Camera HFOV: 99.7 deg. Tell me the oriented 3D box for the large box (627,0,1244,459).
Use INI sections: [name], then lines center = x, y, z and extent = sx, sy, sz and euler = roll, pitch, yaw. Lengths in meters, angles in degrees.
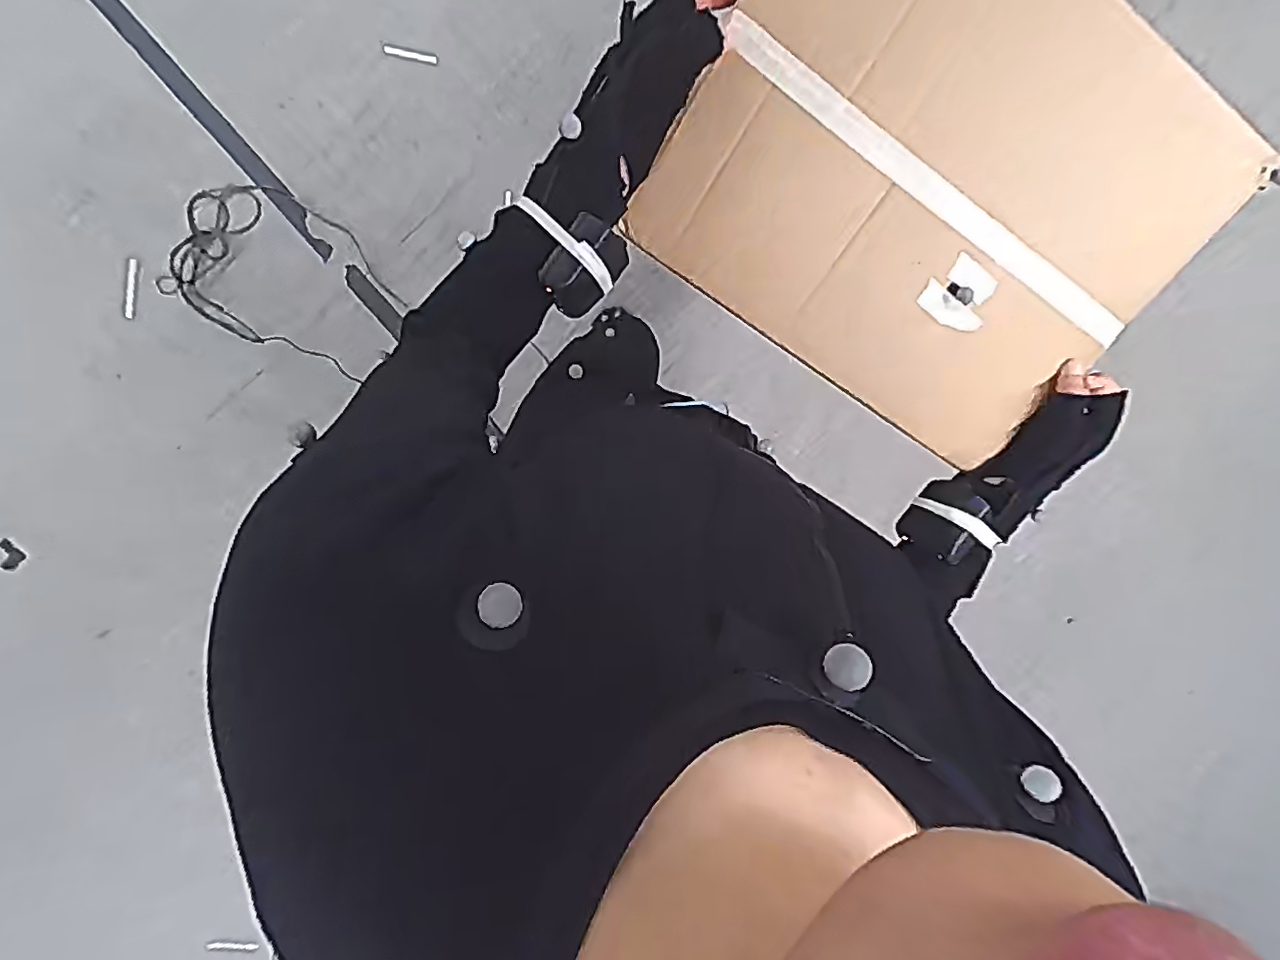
[large box]
center = 0.233, -0.290, 0.575
extent = 0.408, 0.320, 0.320
euler = 31, 111, -12
